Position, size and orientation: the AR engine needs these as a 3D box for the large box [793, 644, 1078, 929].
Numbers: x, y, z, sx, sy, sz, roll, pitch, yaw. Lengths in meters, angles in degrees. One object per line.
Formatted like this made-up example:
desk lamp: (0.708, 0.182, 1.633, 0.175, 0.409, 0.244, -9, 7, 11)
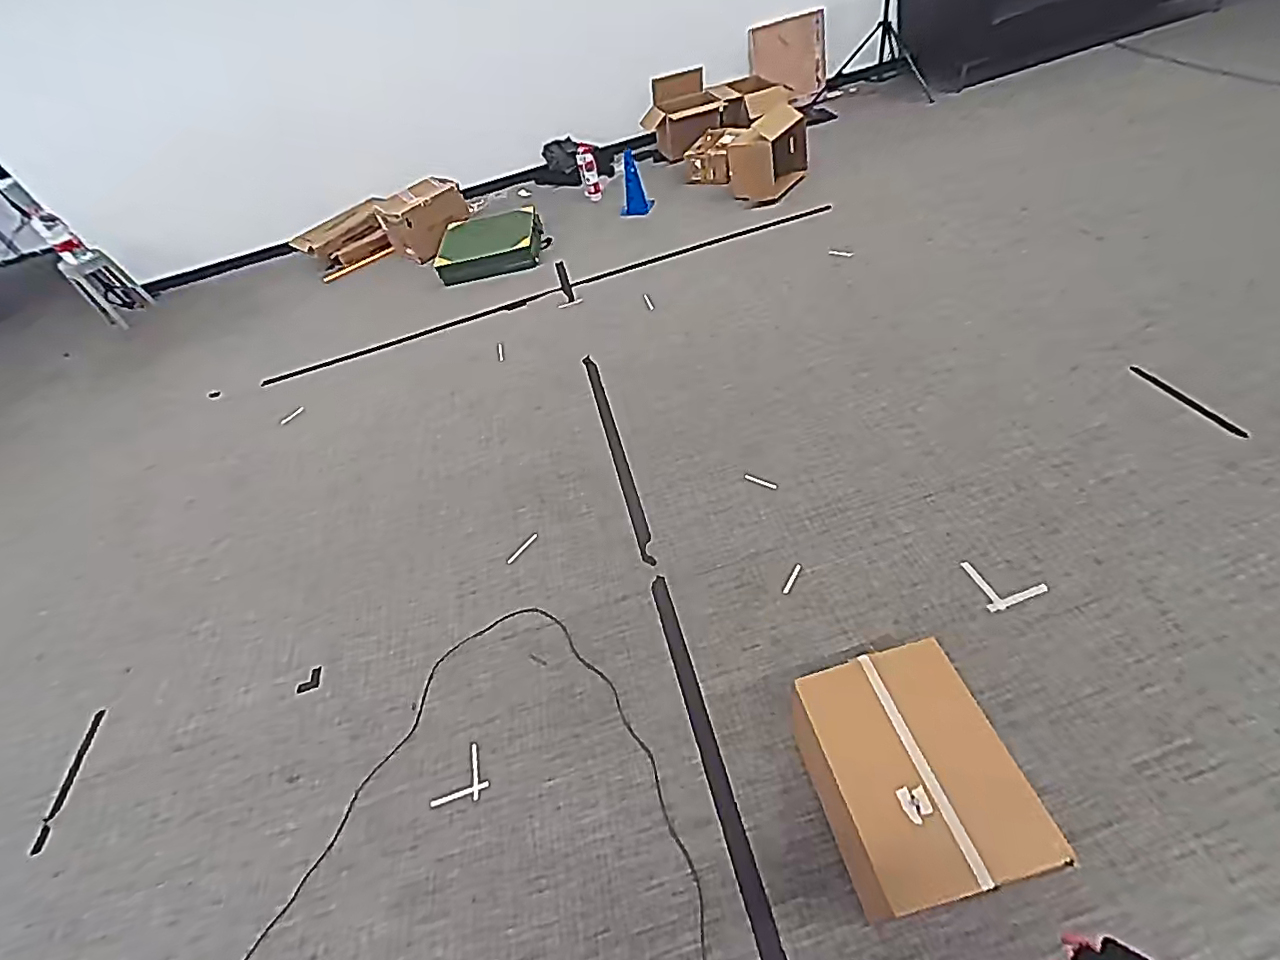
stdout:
large box: (0.543, 0.622, 1.110, 0.320, 0.320, 0.408, -18, 48, -1)
